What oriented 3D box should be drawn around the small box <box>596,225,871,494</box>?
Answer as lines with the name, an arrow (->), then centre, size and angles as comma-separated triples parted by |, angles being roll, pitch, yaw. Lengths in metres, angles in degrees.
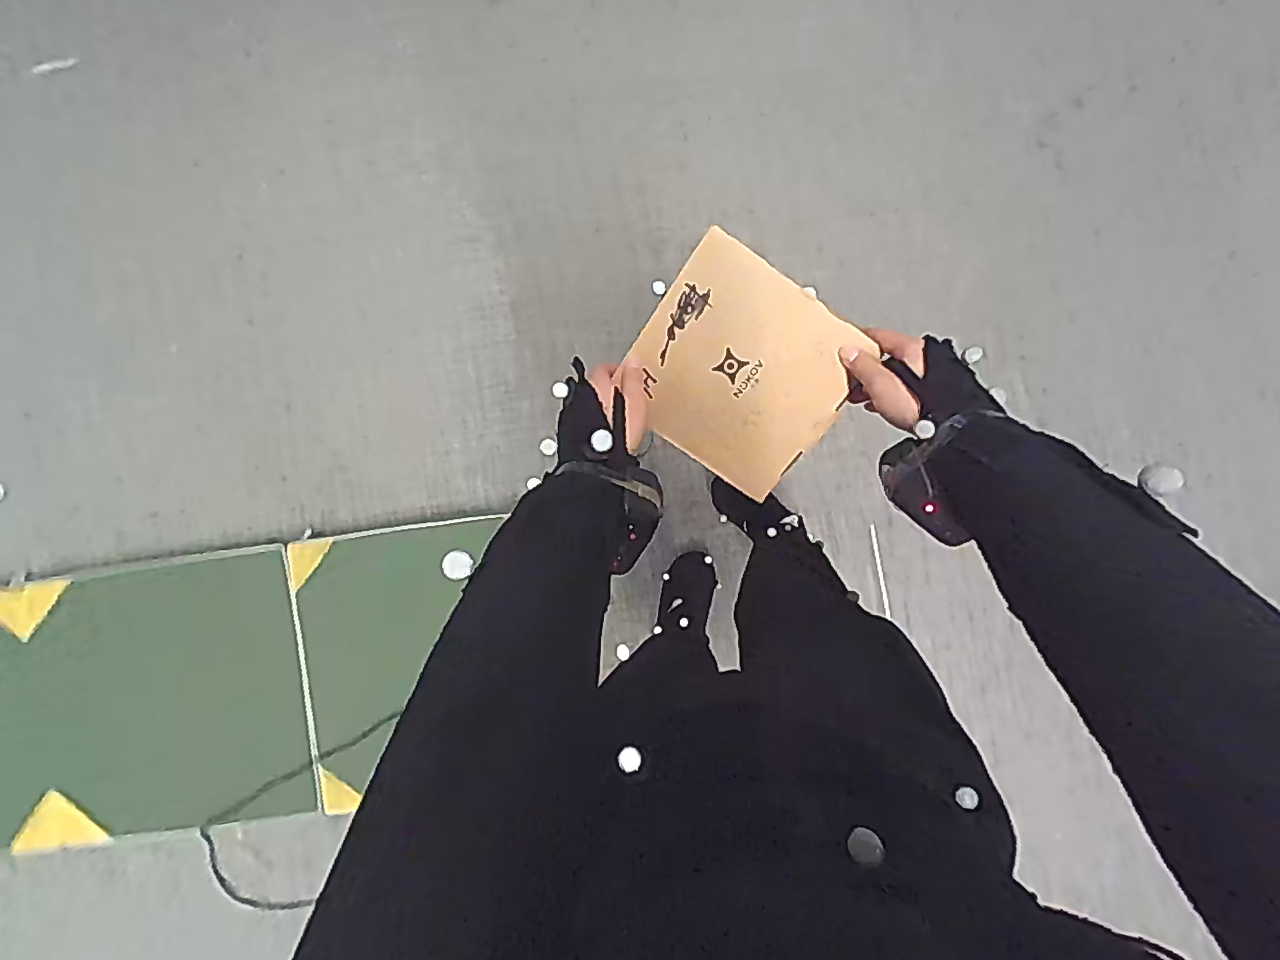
small box -> 0.083, -0.120, 0.533 | 0.179, 0.176, 0.168 | 33, 108, -6
